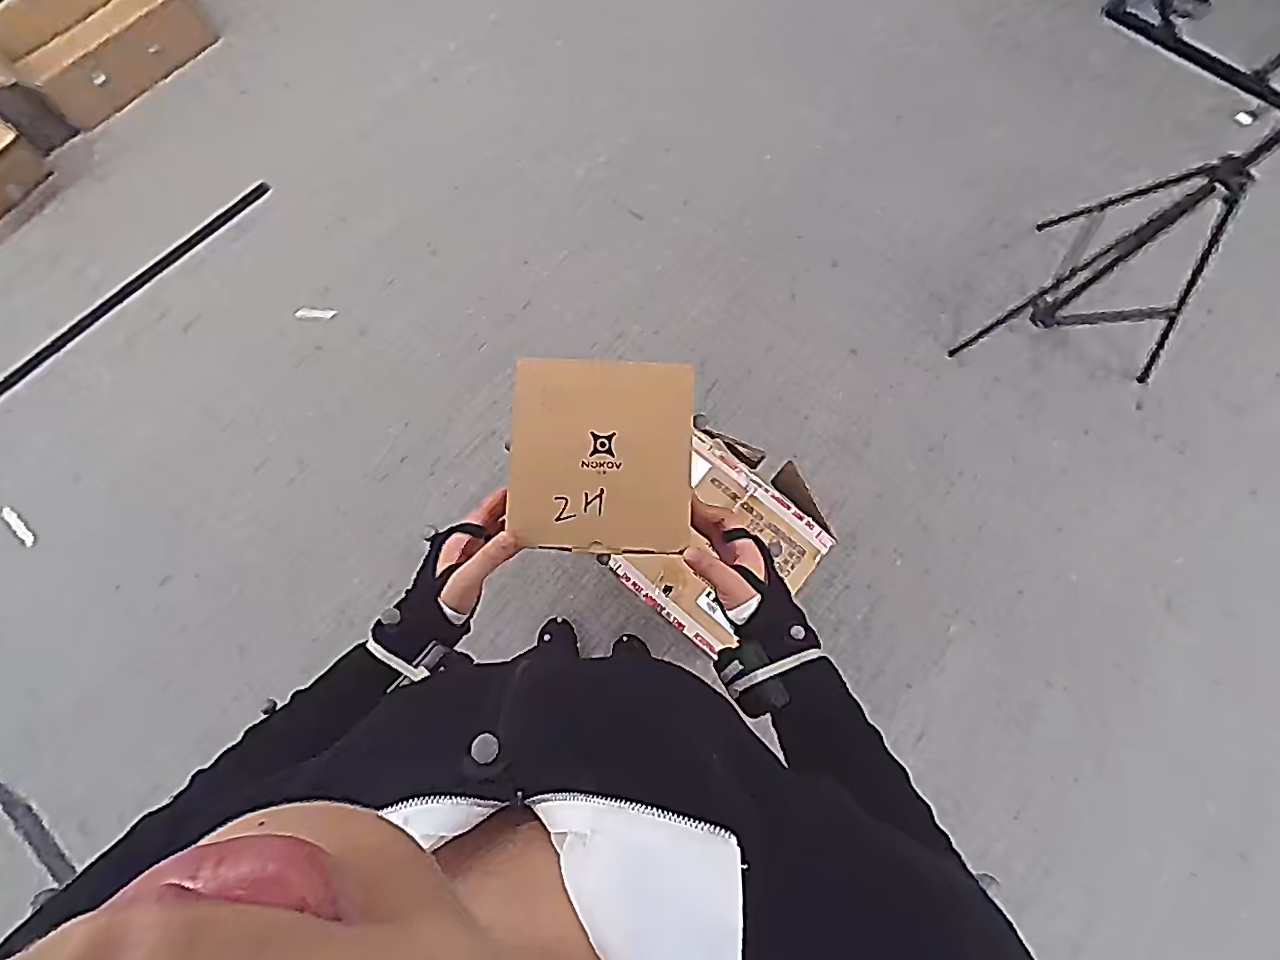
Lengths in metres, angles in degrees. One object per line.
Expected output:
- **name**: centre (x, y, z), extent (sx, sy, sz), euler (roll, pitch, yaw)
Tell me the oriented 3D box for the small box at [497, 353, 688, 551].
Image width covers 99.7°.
- **small box**: centre (-0.043, -0.018, 0.563), extent (0.168, 0.176, 0.179), euler (2, 84, 0)
